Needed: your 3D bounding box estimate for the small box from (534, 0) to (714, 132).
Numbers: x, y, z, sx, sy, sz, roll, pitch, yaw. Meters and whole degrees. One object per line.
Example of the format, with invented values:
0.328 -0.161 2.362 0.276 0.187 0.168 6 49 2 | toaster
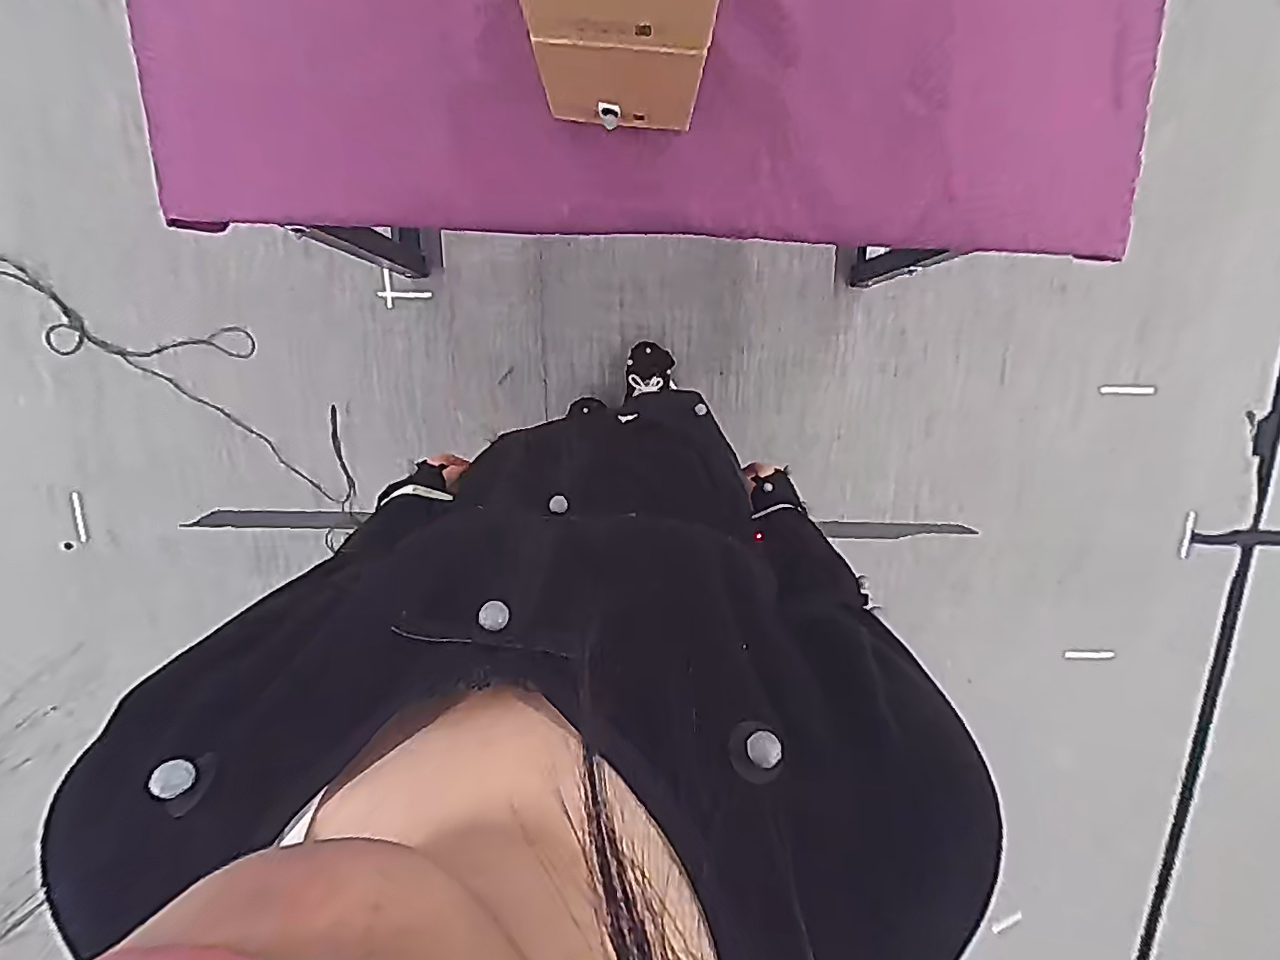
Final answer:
-0.013 -0.500 0.562 0.168 0.176 0.179 3 102 -2 | small box
